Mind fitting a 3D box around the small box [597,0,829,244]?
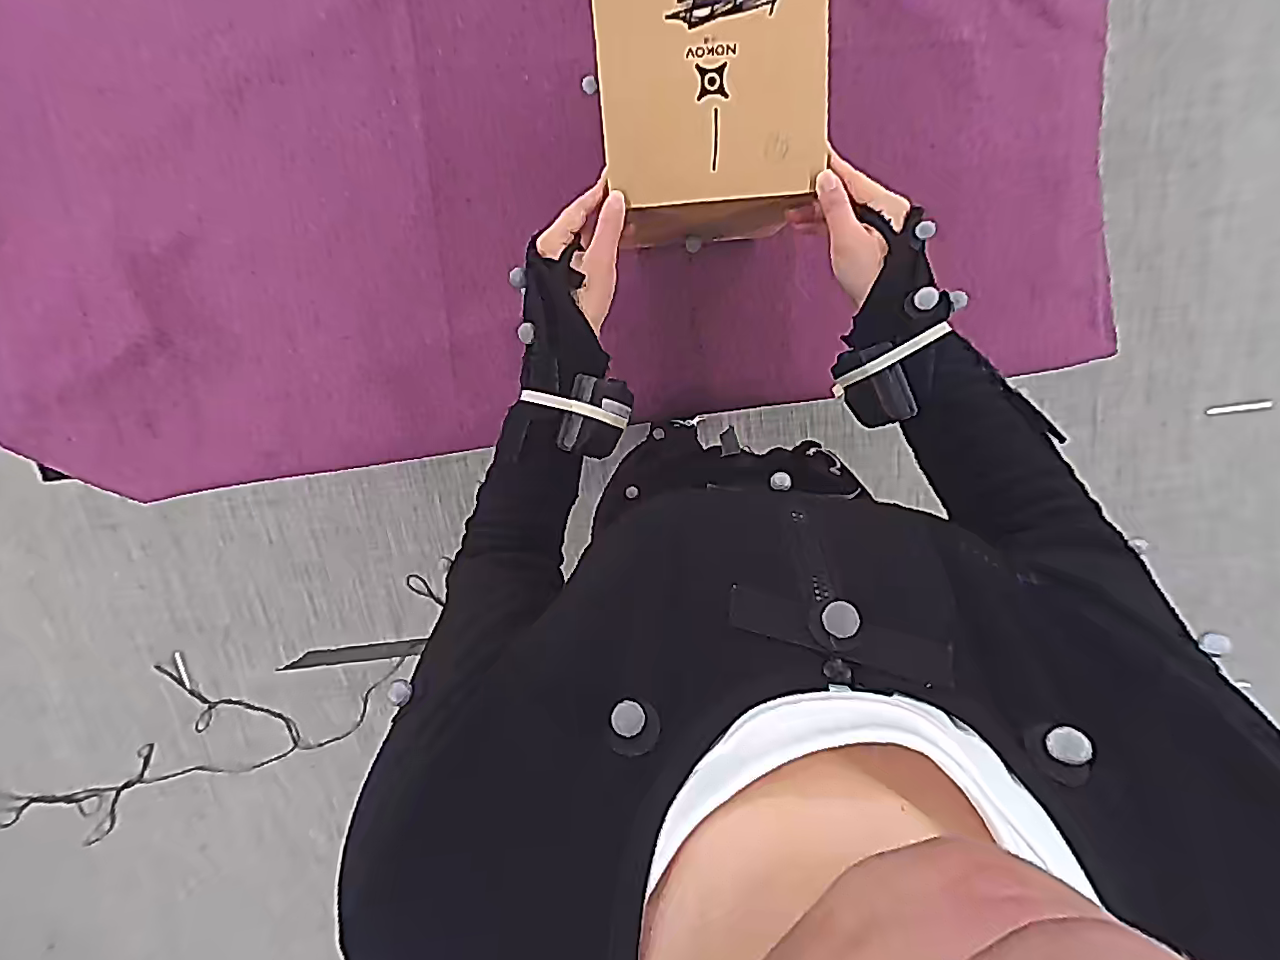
[{"bbox_3d":[0.051,-0.317,0.465,0.168,0.176,0.179,-5,104,0],"label":"small box"}]
